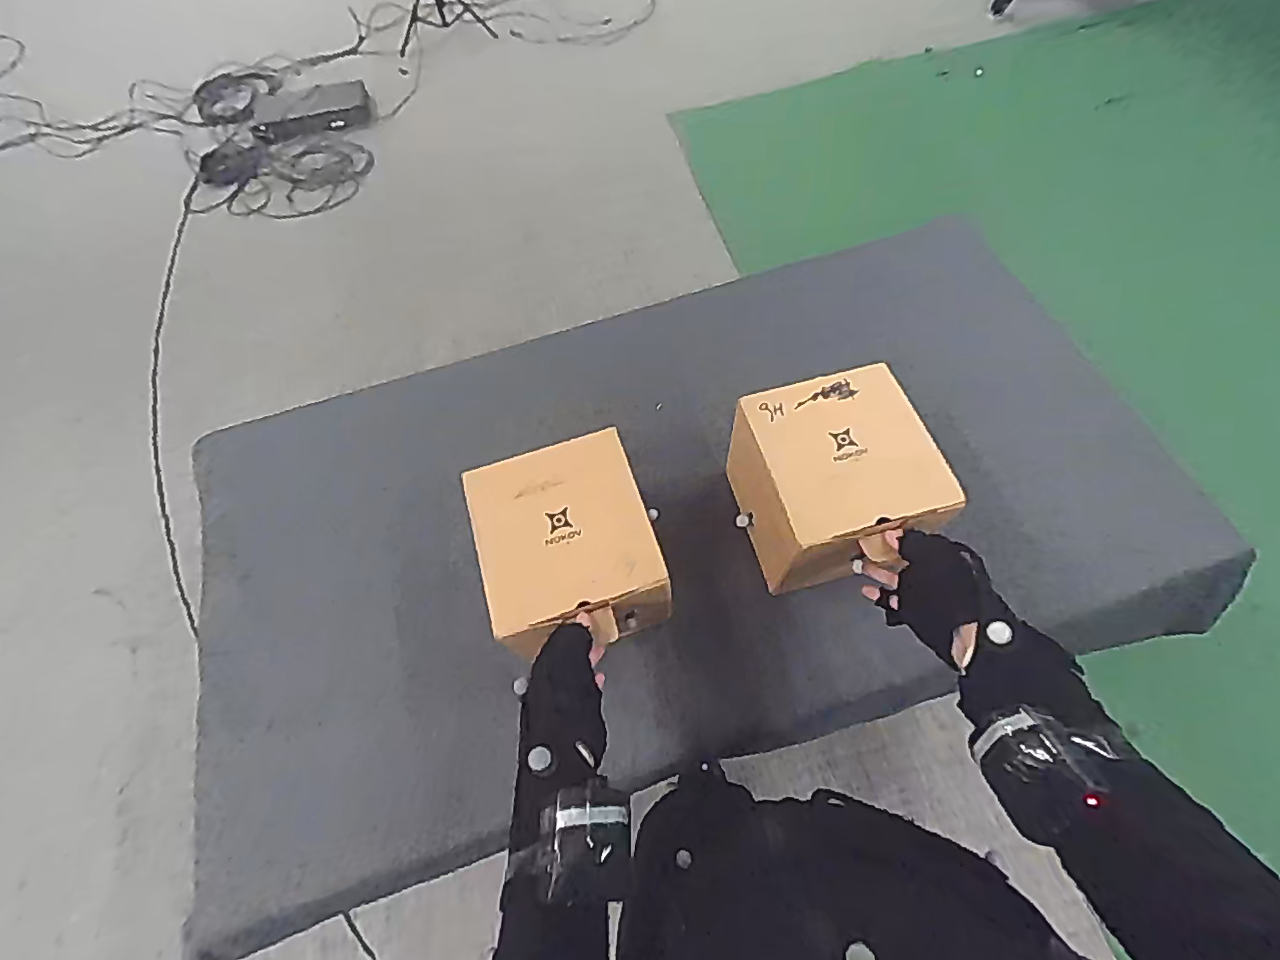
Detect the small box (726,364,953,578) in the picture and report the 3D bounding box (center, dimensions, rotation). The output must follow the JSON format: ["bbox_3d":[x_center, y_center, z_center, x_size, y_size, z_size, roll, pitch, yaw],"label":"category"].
[{"bbox_3d":[0.206,0.001,0.616,0.168,0.176,0.179,-13,65,-4],"label":"small box"}]

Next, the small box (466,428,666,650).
[{"bbox_3d":[-0.073,0.076,0.597,0.168,0.176,0.179,-17,64,-7],"label":"small box"}]
